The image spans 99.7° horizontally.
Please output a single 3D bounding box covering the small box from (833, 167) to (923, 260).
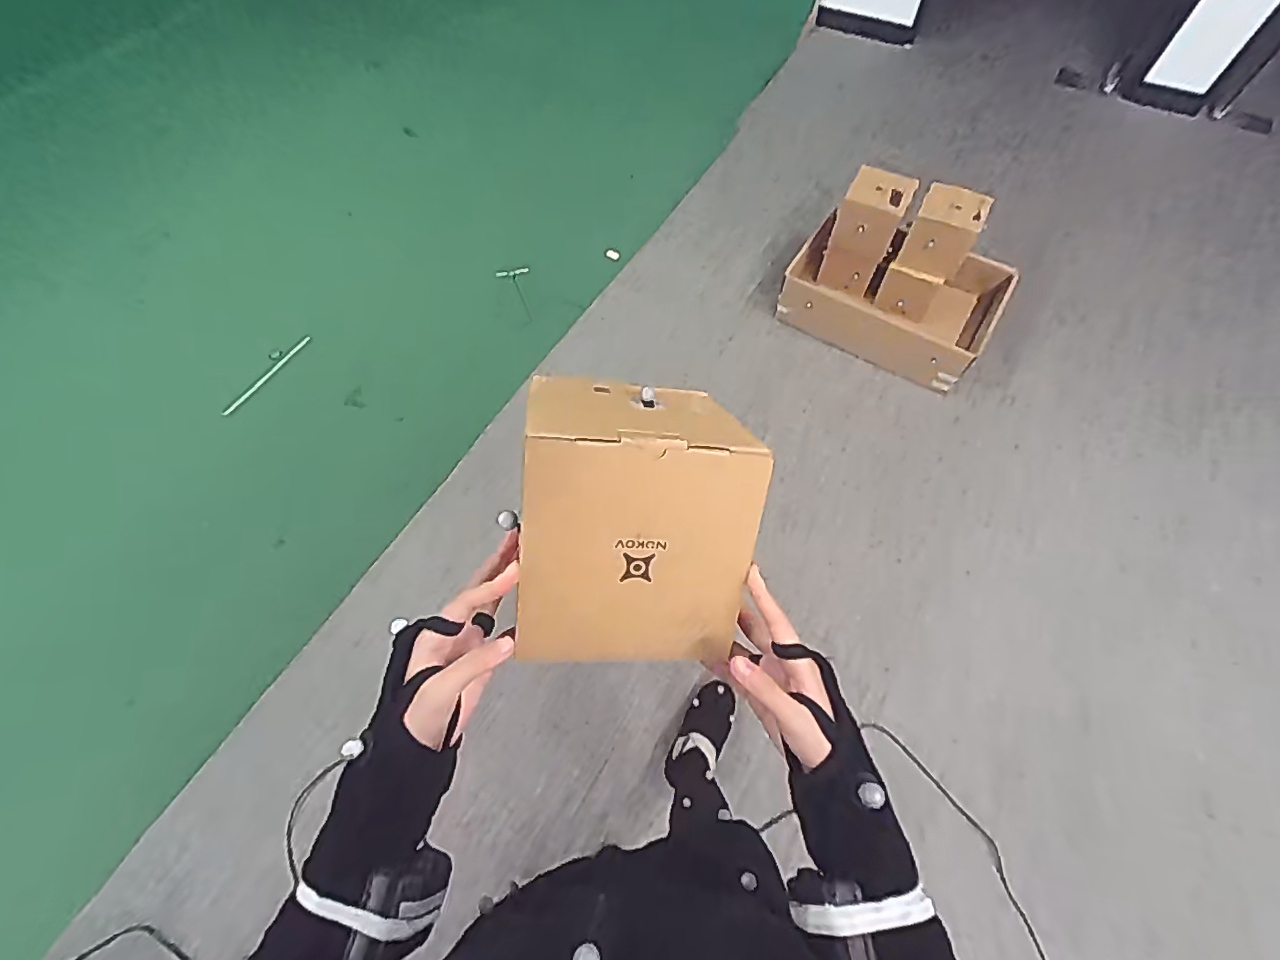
[{"bbox_3d":[0.710,-0.796,1.630,0.179,0.176,0.168,26,69,15],"label":"small box"}]

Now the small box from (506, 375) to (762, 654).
[{"bbox_3d":[-0.017,0.021,0.453,0.168,0.179,0.176,3,21,-10],"label":"small box"}]

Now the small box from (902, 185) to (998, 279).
[{"bbox_3d":[0.898,-0.722,1.583,0.179,0.176,0.168,25,68,17],"label":"small box"}]

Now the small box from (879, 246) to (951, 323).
[{"bbox_3d":[0.892,-0.639,1.725,0.168,0.176,0.179,29,70,18],"label":"small box"}]
